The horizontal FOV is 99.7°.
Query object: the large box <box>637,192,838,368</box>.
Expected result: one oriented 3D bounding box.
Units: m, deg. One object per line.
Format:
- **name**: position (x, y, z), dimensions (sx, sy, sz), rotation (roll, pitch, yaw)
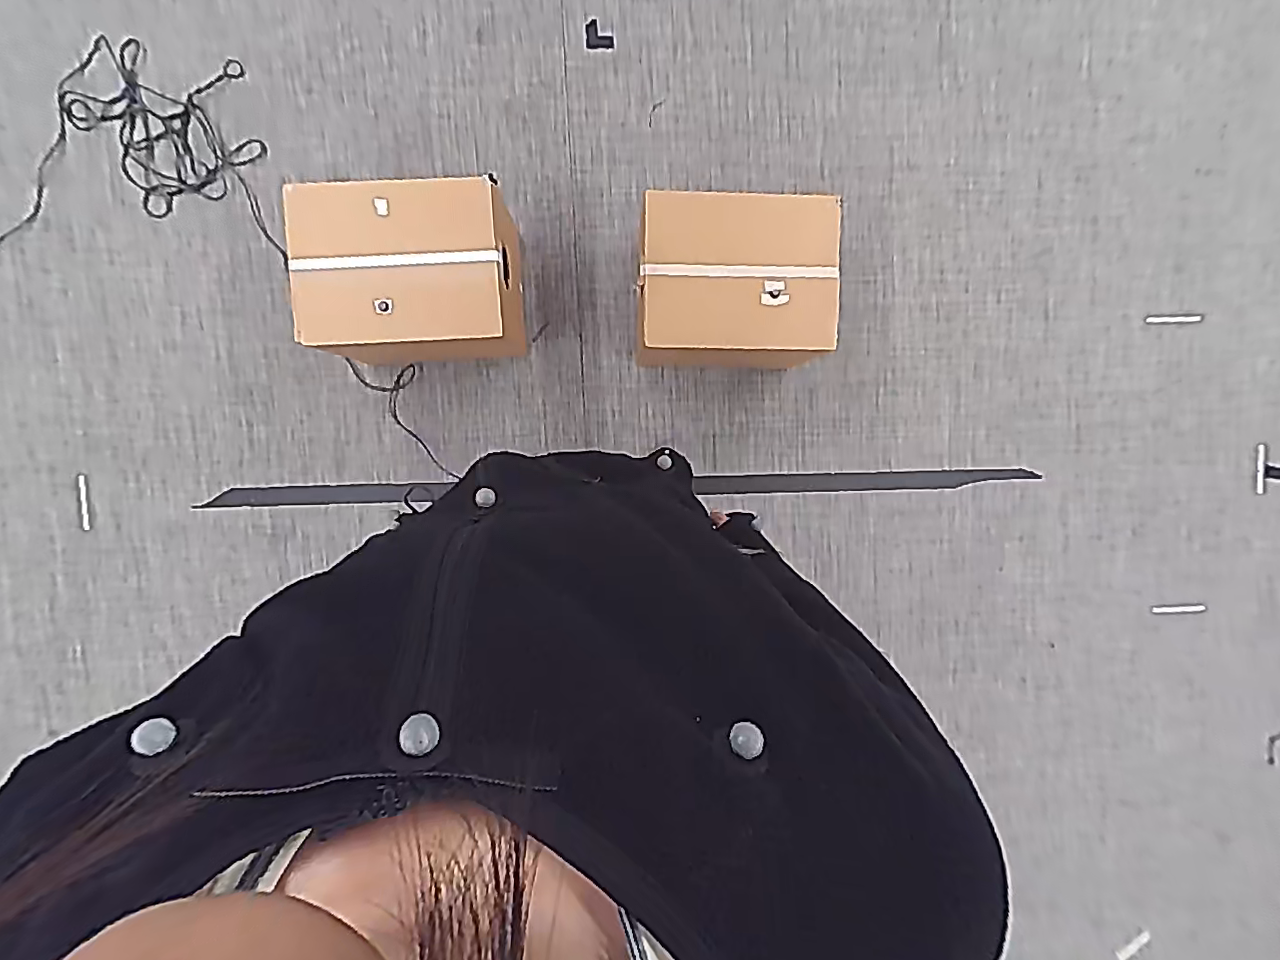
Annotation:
- **large box**: position (0.202, -0.439, 1.263), dimensions (0.408, 0.320, 0.320), rotation (0, 94, -4)
